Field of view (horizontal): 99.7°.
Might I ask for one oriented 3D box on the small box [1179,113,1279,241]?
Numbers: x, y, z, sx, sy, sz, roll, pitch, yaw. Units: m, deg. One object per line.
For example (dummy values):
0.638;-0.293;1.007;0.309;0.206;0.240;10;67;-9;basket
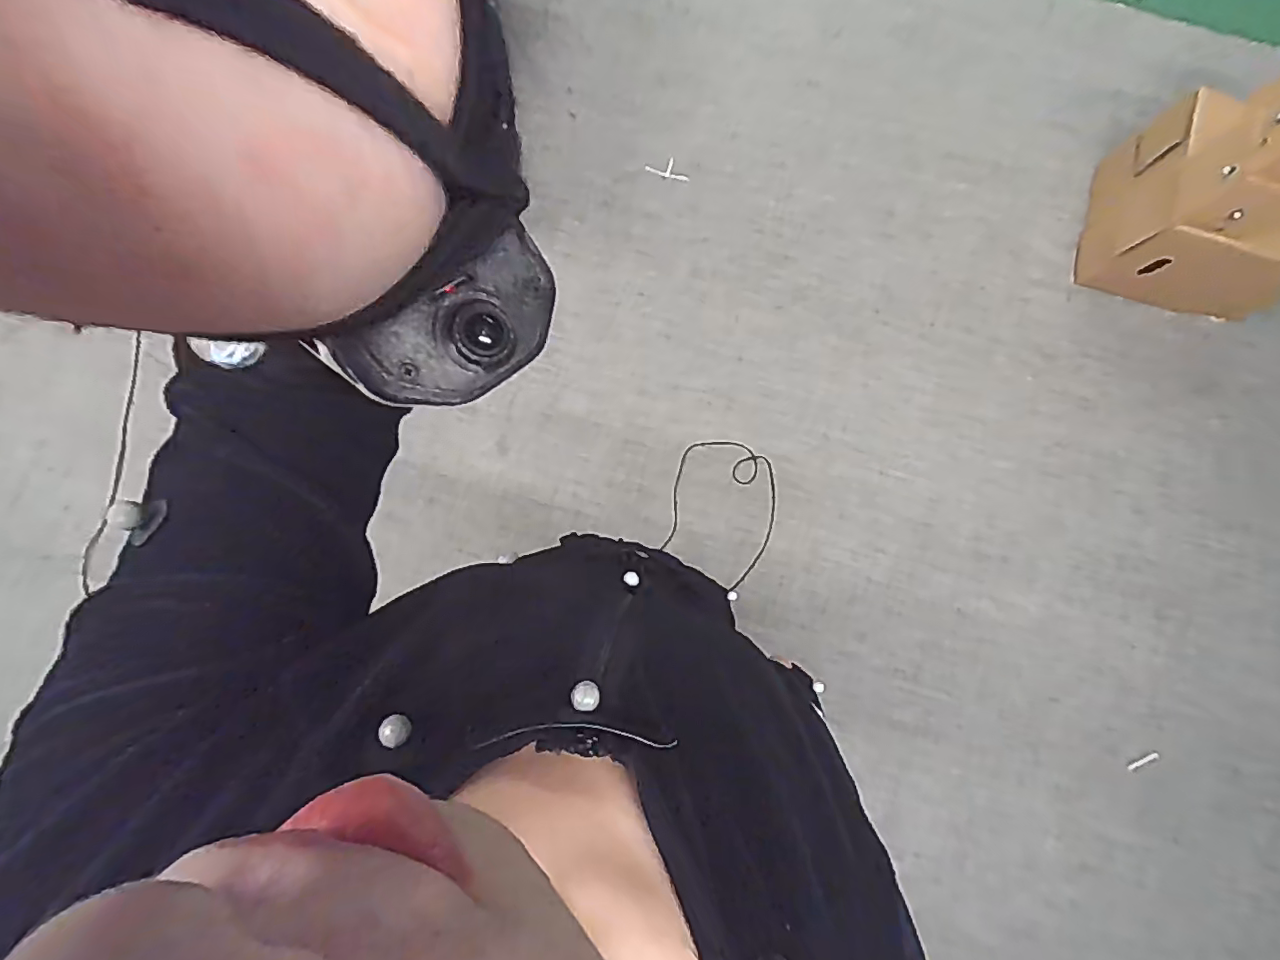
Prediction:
1.411;-0.686;1.245;0.168;0.176;0.179;17;84;0;small box
